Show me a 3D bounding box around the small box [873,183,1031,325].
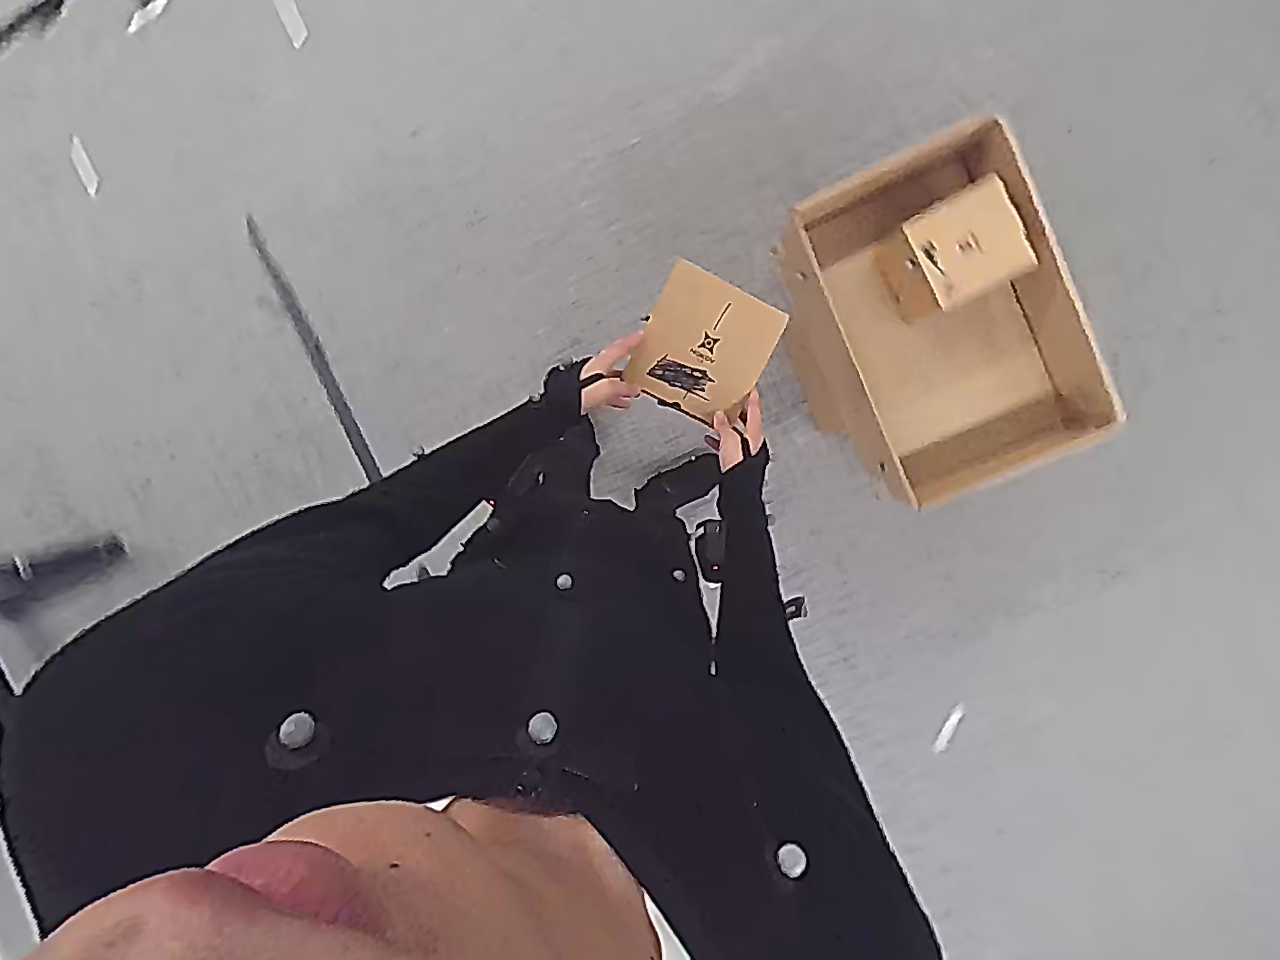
[{"bbox_3d":[0.581,-0.418,1.029,0.179,0.176,0.168,-26,94,7],"label":"small box"}]

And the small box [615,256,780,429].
[{"bbox_3d":[0.074,-0.193,0.795,0.168,0.176,0.179,25,98,-7],"label":"small box"}]
